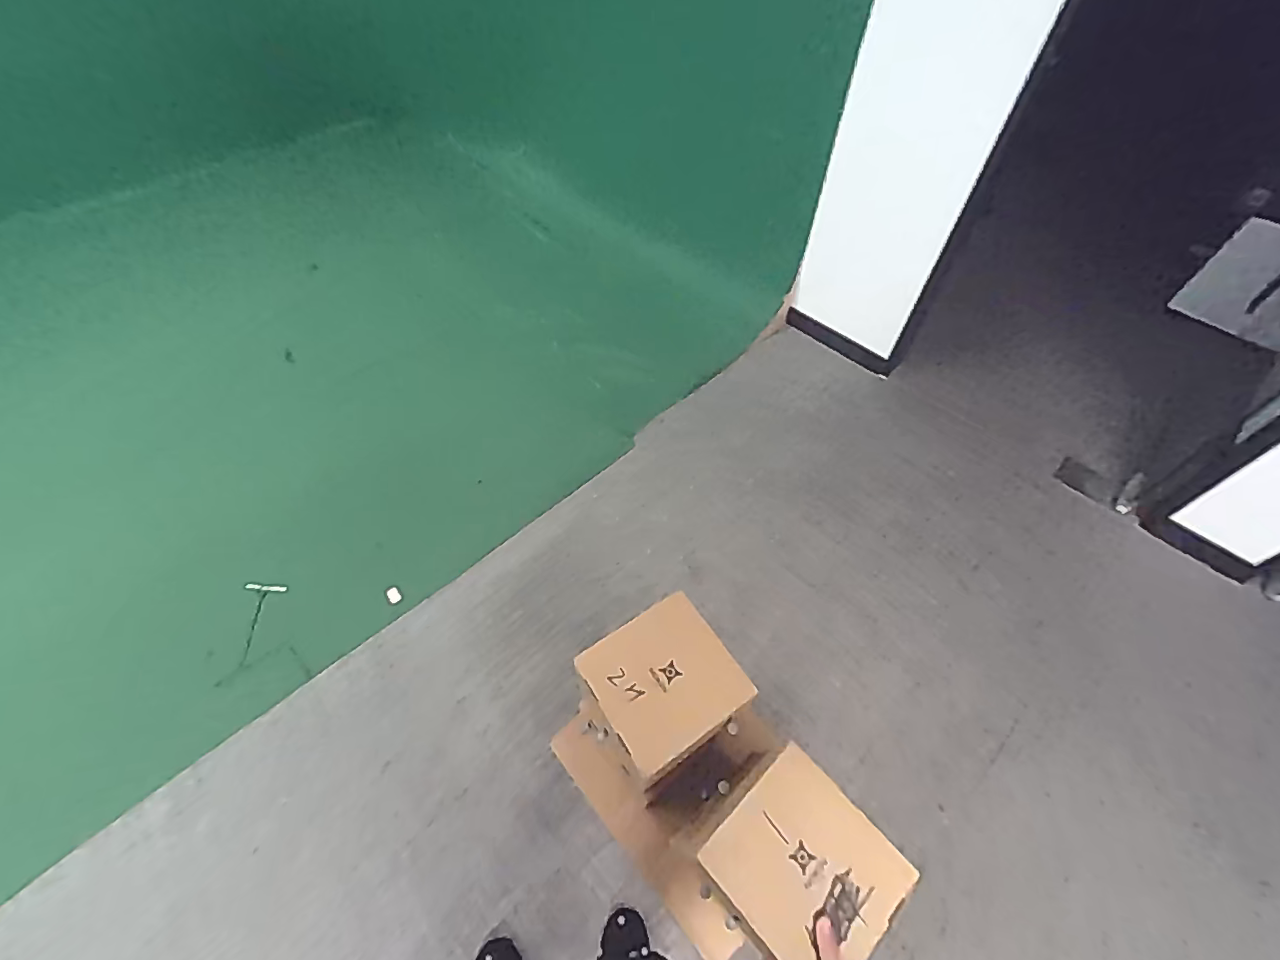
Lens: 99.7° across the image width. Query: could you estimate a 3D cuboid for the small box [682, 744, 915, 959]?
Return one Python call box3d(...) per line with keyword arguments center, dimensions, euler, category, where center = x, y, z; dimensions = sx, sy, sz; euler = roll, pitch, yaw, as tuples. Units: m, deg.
box3d(center=(0.169, 0.443, 0.633), dimensions=(0.168, 0.176, 0.179), euler=(-37, 67, -23), category="small box")
